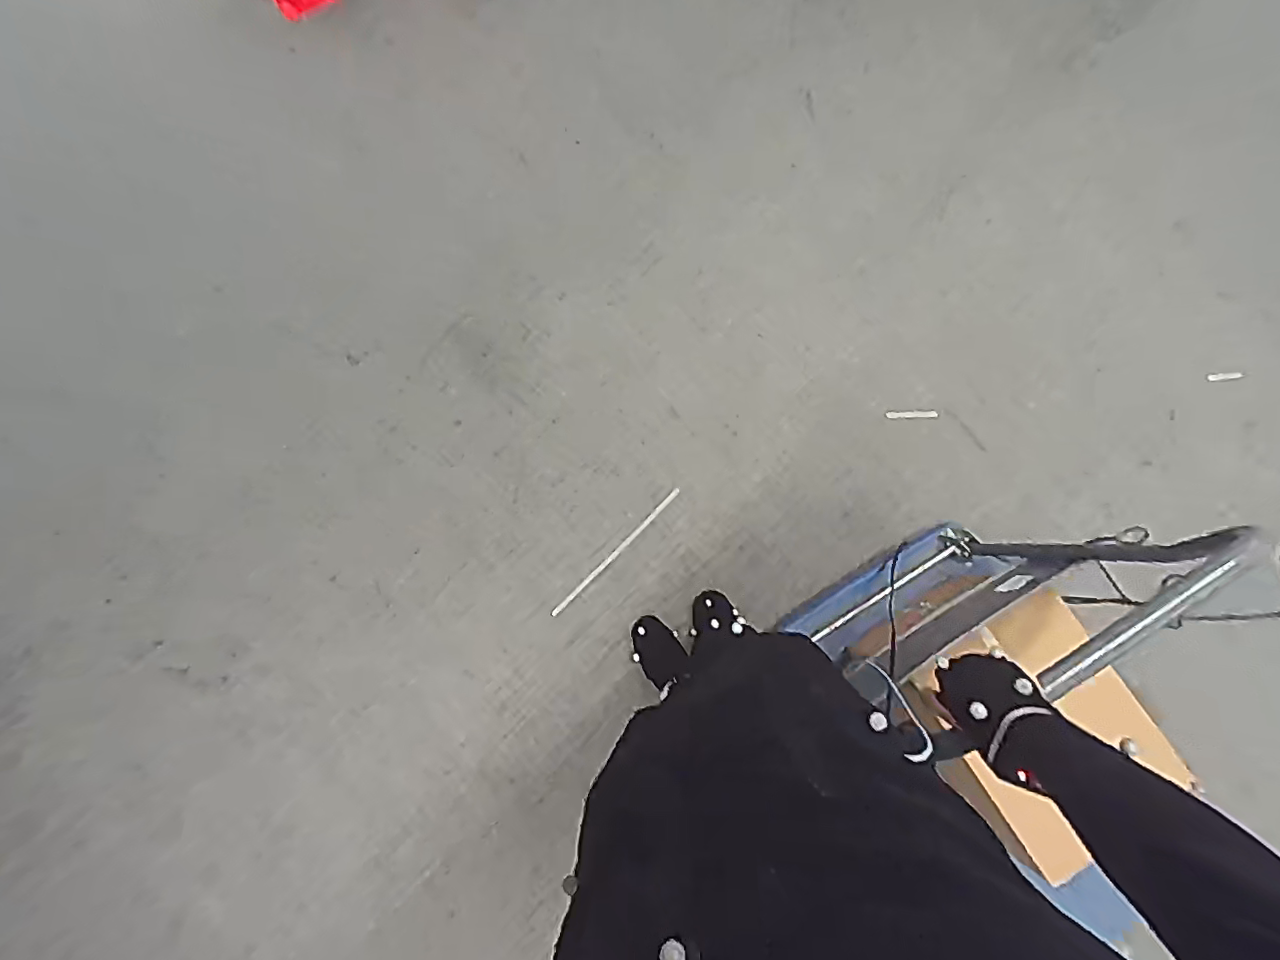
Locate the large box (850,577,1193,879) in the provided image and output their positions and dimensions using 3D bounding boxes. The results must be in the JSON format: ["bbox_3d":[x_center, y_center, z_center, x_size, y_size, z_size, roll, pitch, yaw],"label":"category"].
[{"bbox_3d":[0.706,0.443,1.079,0.320,0.320,0.408,-32,81,-4],"label":"large box"}]
